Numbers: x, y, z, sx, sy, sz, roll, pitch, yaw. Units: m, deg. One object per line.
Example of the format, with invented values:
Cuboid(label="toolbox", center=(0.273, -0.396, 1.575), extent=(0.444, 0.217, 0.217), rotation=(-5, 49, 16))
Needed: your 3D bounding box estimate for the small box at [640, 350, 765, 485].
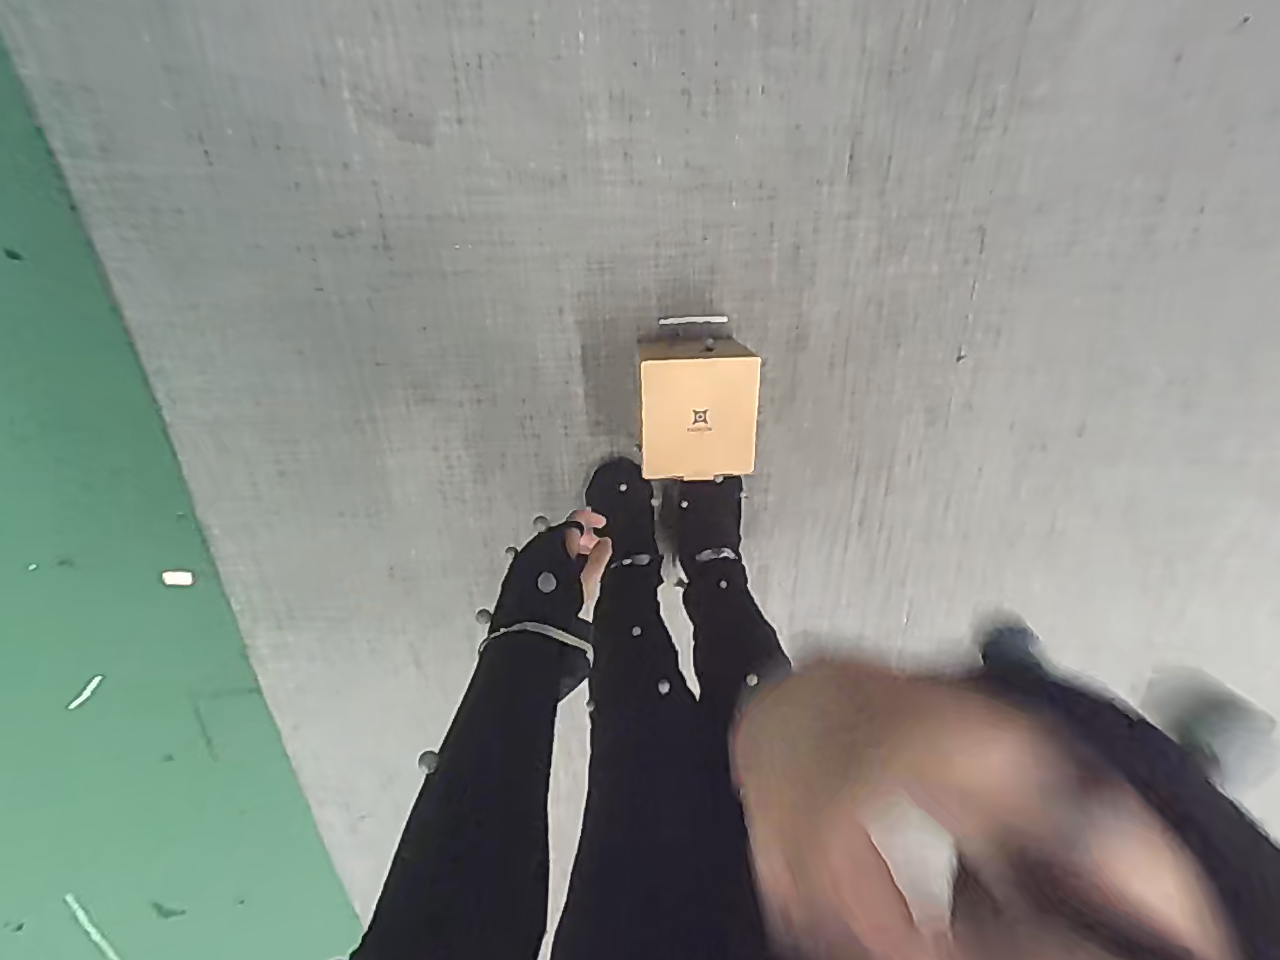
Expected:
Cuboid(label="small box", center=(0.086, -0.106, 0.843), extent=(0.168, 0.176, 0.179), rotation=(-2, 114, -3))
